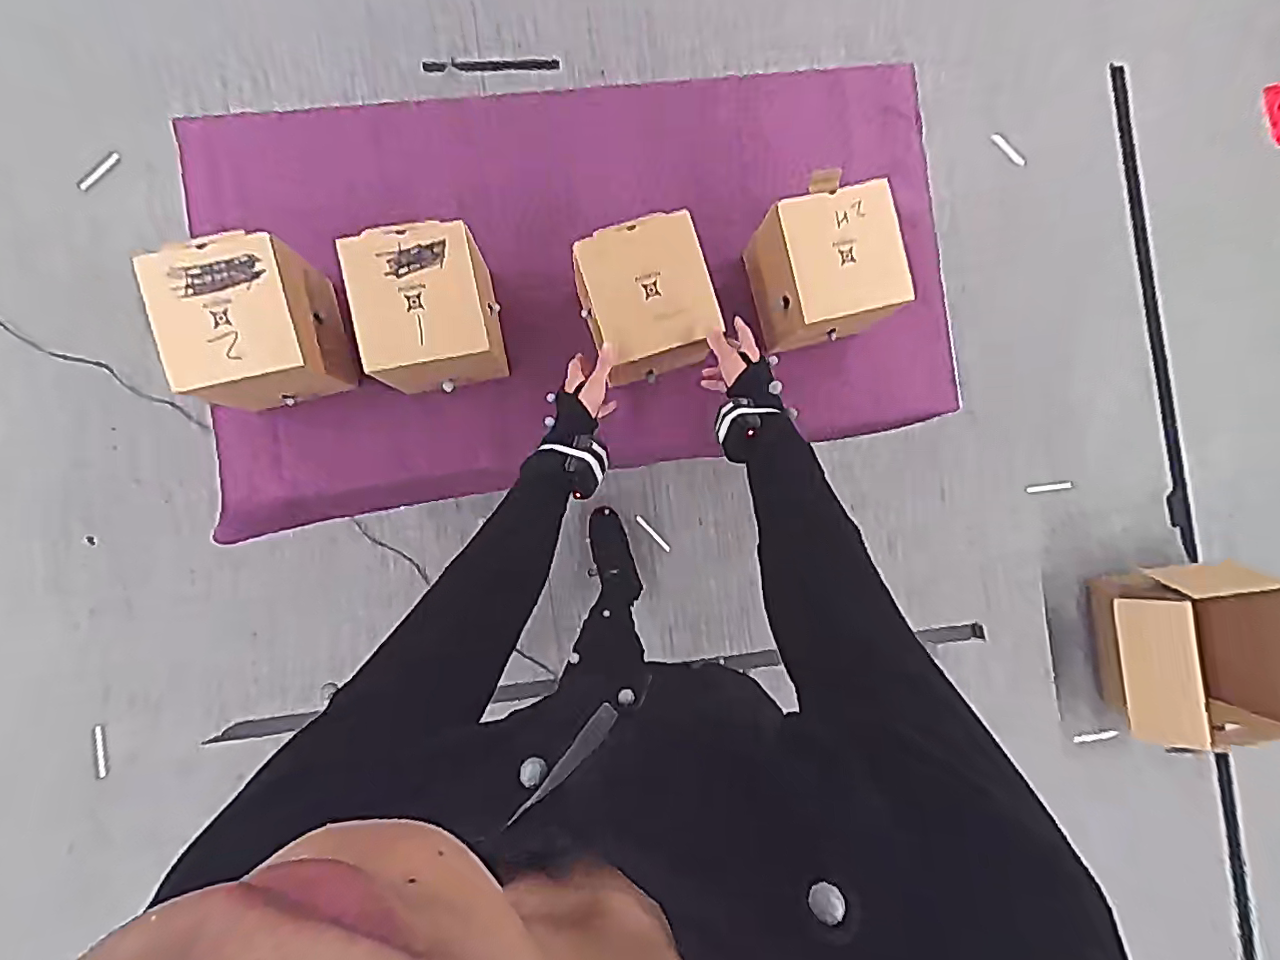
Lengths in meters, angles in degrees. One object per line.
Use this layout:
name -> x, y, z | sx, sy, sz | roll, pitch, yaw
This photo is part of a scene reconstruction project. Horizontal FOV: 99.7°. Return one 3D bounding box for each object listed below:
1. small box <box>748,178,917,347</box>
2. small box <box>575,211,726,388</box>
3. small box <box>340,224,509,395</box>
small box -> 0.279, -0.312, 0.818 | 0.168, 0.176, 0.179 | -14, 90, -4
small box -> 0.009, -0.254, 0.799 | 0.168, 0.176, 0.179 | -18, 90, -3
small box -> -0.295, -0.233, 0.776 | 0.168, 0.176, 0.179 | -12, 91, -4
